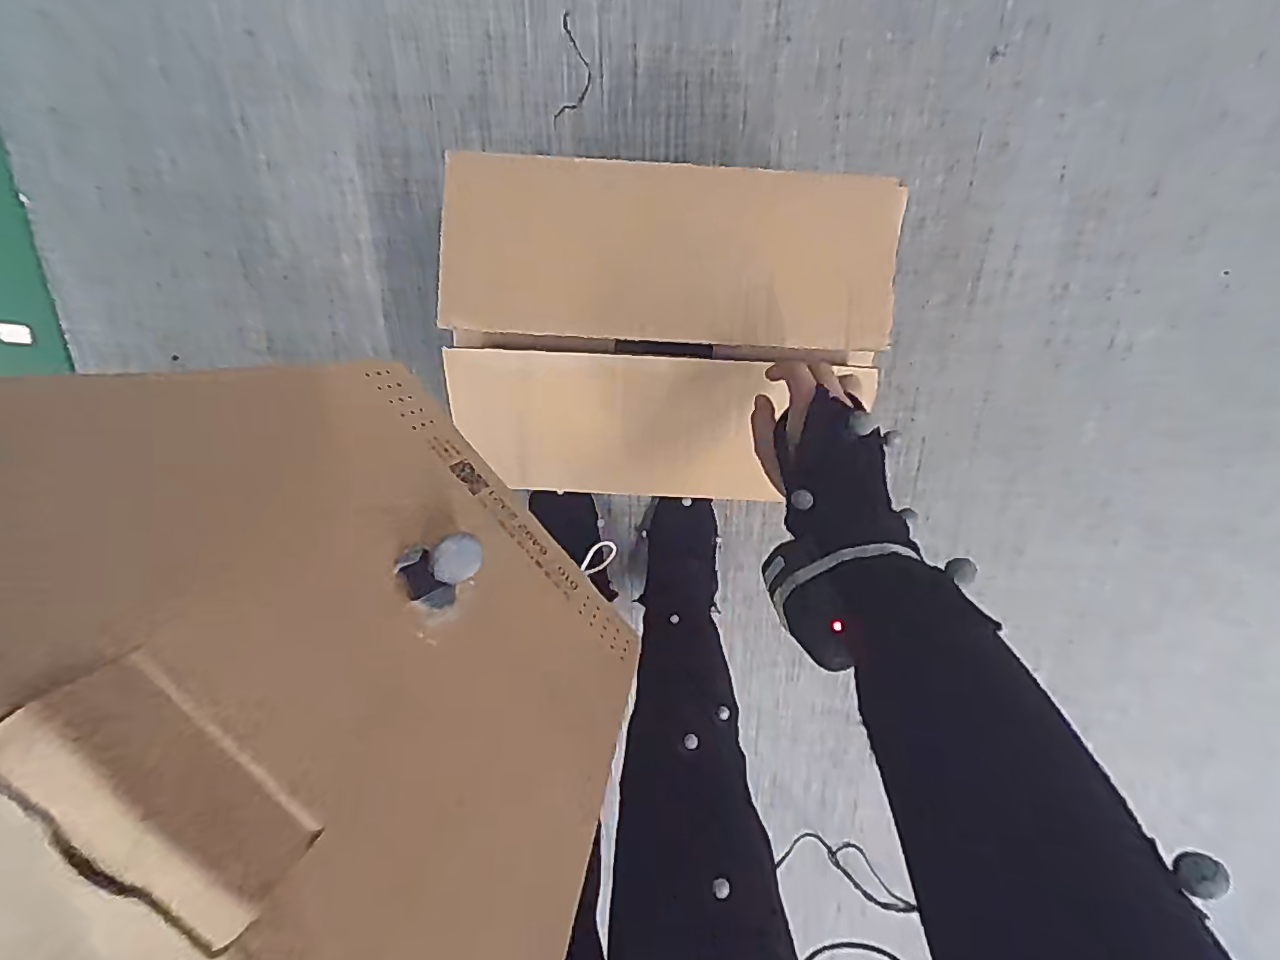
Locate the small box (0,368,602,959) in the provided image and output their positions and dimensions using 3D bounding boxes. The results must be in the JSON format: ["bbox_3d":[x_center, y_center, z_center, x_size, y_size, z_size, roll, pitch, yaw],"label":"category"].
[{"bbox_3d":[-0.128,0.079,0.177,0.179,0.176,0.168,-39,97,15],"label":"small box"}]
